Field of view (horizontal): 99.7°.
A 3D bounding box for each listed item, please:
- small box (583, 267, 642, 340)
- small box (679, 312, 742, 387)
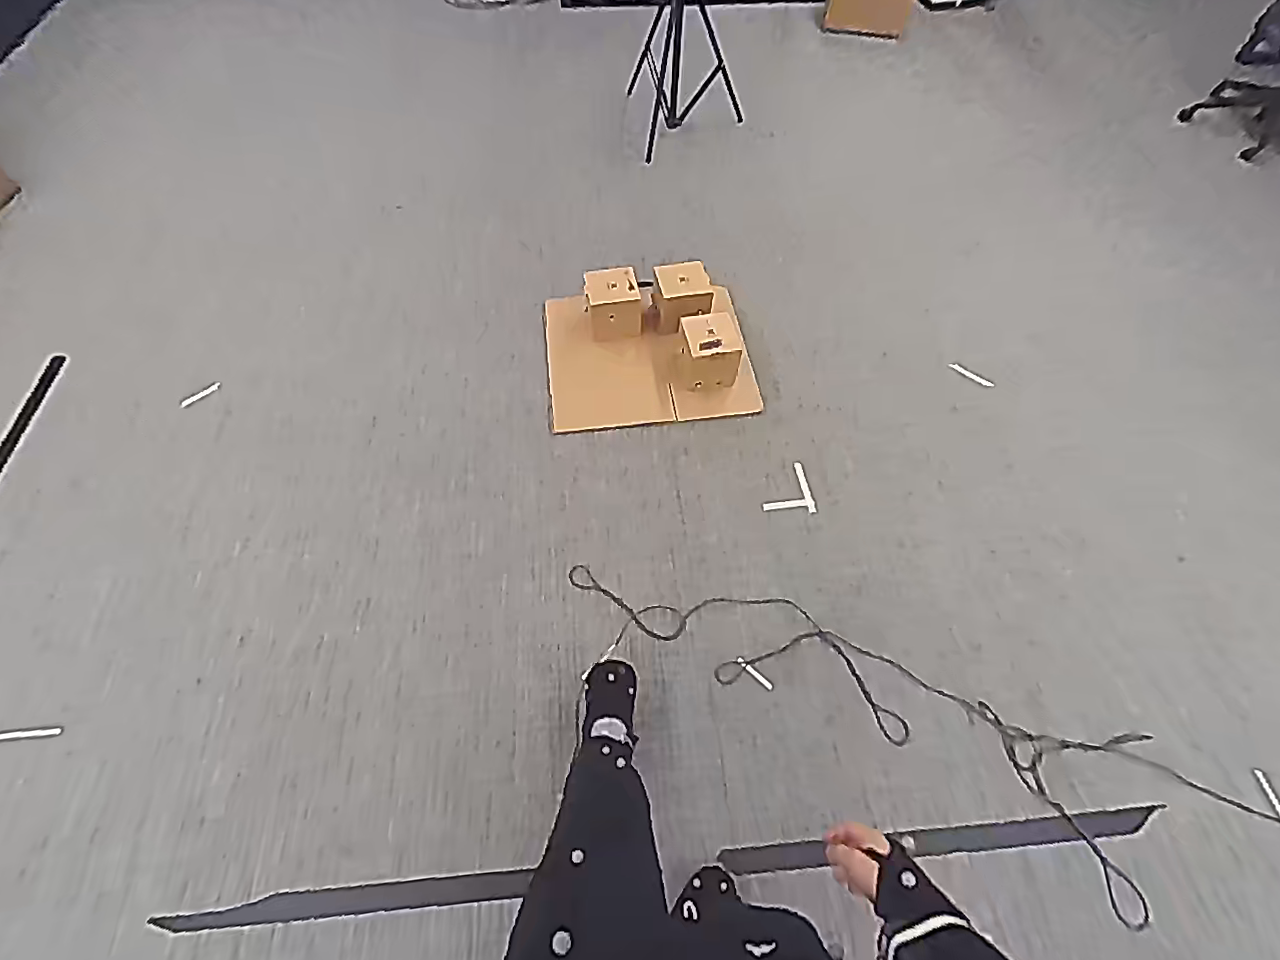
[{"bbox_3d":[-0.093,-0.609,1.885,0.179,0.176,0.168,-10,61,-5],"label":"small box"},{"bbox_3d":[0.227,-0.423,1.787,0.168,0.176,0.179,-9,61,-6],"label":"small box"}]
